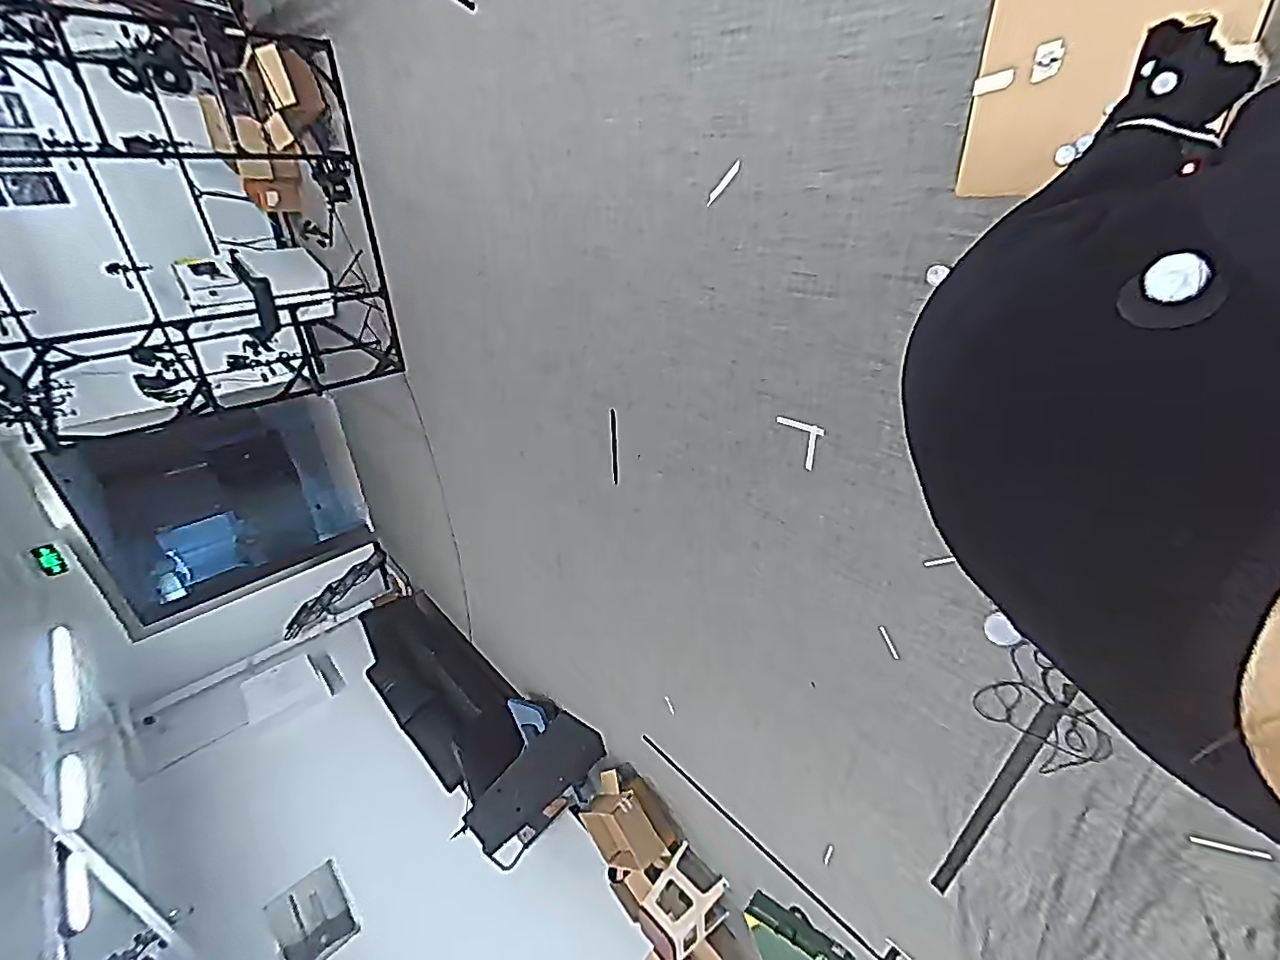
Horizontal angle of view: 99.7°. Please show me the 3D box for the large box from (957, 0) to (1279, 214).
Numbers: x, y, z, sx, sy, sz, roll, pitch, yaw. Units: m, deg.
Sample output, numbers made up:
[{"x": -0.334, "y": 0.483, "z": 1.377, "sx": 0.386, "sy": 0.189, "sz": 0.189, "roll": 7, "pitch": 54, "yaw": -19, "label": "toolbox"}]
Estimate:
[{"x": 0.780, "y": -0.630, "z": 0.890, "sx": 0.320, "sy": 0.408, "sz": 0.320, "roll": 24, "pitch": 130, "yaw": 39, "label": "large box"}]
